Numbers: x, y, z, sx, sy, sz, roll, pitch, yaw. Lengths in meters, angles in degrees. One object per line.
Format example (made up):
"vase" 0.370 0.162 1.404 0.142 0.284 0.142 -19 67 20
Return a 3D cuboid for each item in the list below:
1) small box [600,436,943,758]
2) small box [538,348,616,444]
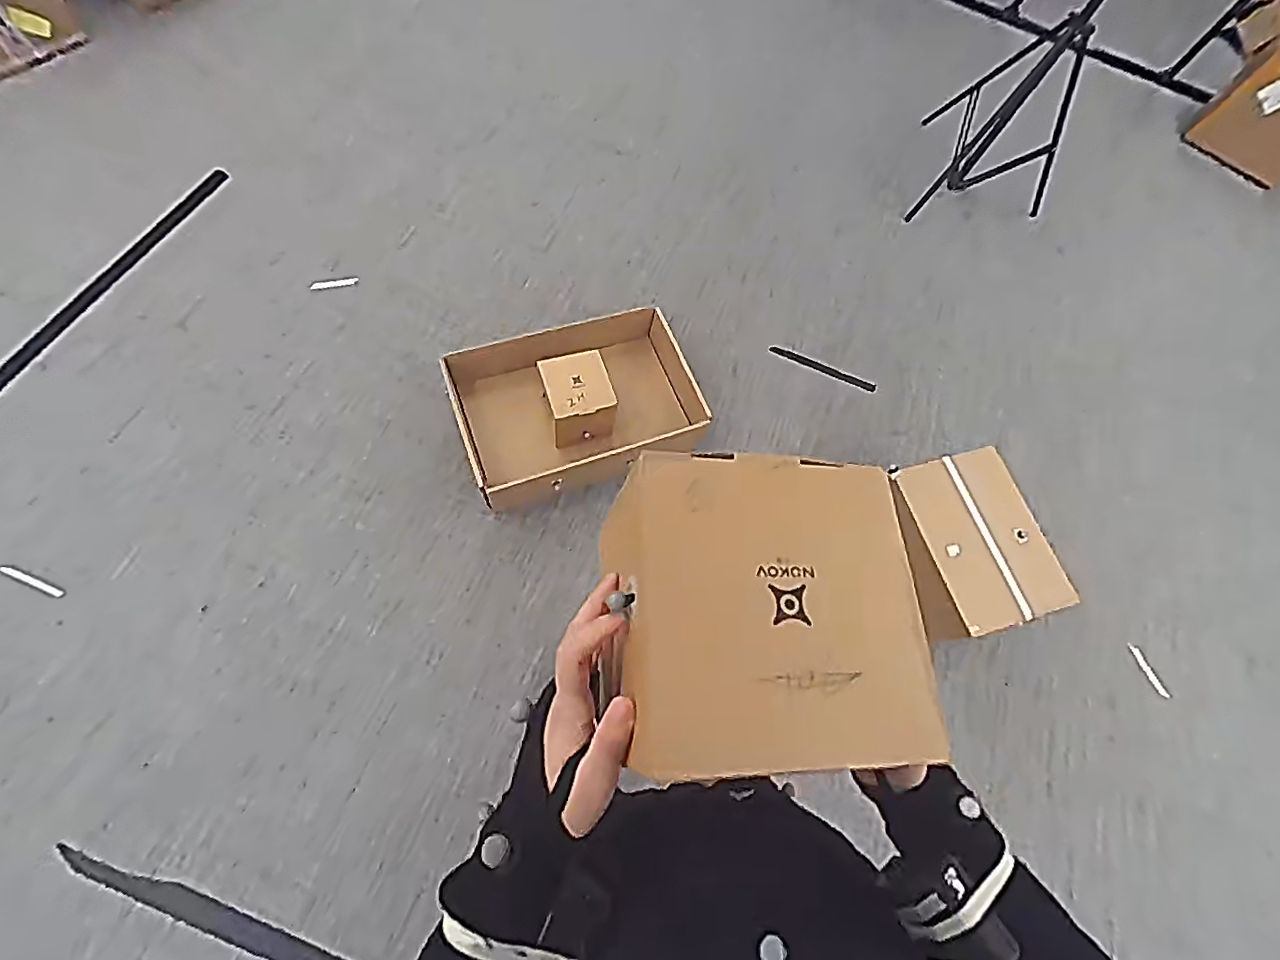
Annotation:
"small box" 0.064 0.088 0.379 0.168 0.176 0.179 2 68 -12
"small box" -0.172 -0.220 1.444 0.168 0.176 0.179 -15 72 -13
